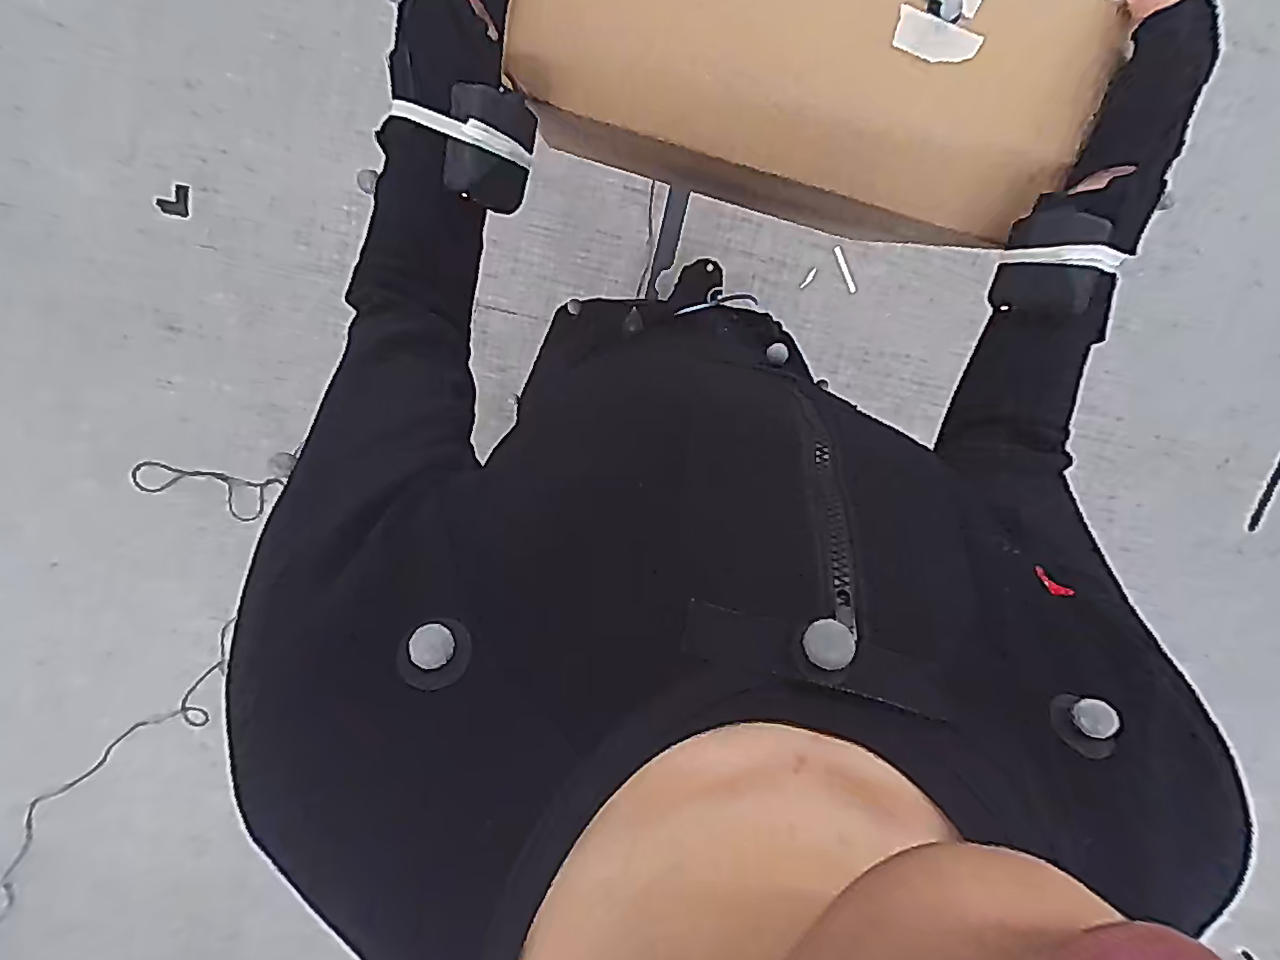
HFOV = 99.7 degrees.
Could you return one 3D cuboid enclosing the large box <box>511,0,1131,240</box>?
[{"bbox_3d":[0.126,-0.422,0.466,0.408,0.320,0.320,11,116,-10],"label":"large box"}]
